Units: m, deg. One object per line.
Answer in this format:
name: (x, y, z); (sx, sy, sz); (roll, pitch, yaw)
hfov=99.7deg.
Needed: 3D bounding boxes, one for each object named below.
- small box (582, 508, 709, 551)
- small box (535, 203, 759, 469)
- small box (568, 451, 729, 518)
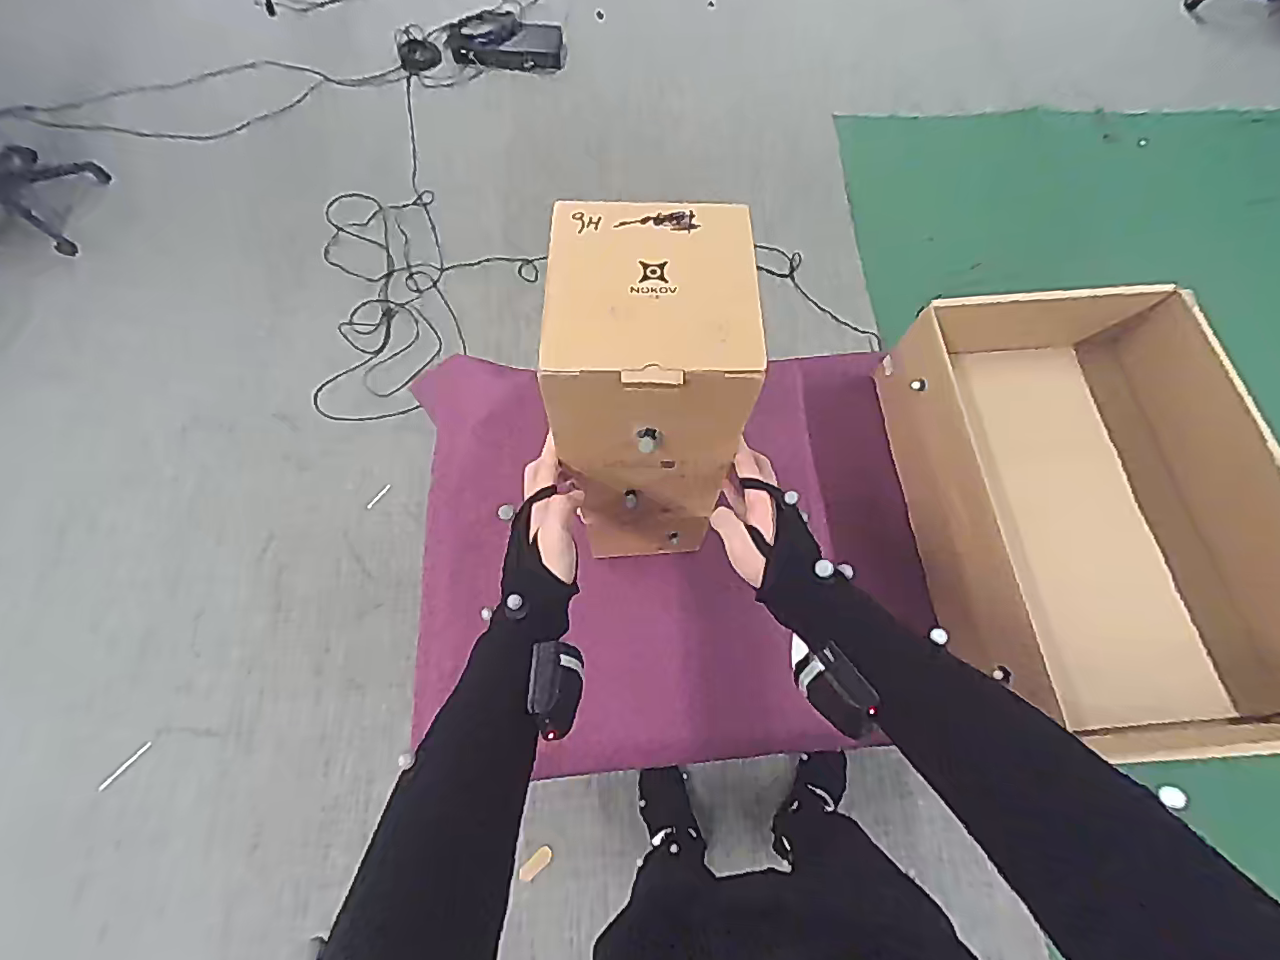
small box: (0.003, 0.003, 0.795); (0.168, 0.176, 0.179); (-3, 66, -3)
small box: (0.006, -0.119, 0.493); (0.168, 0.176, 0.179); (1, 67, -1)
small box: (0.004, -0.059, 0.646); (0.168, 0.176, 0.179); (-3, 66, -3)
